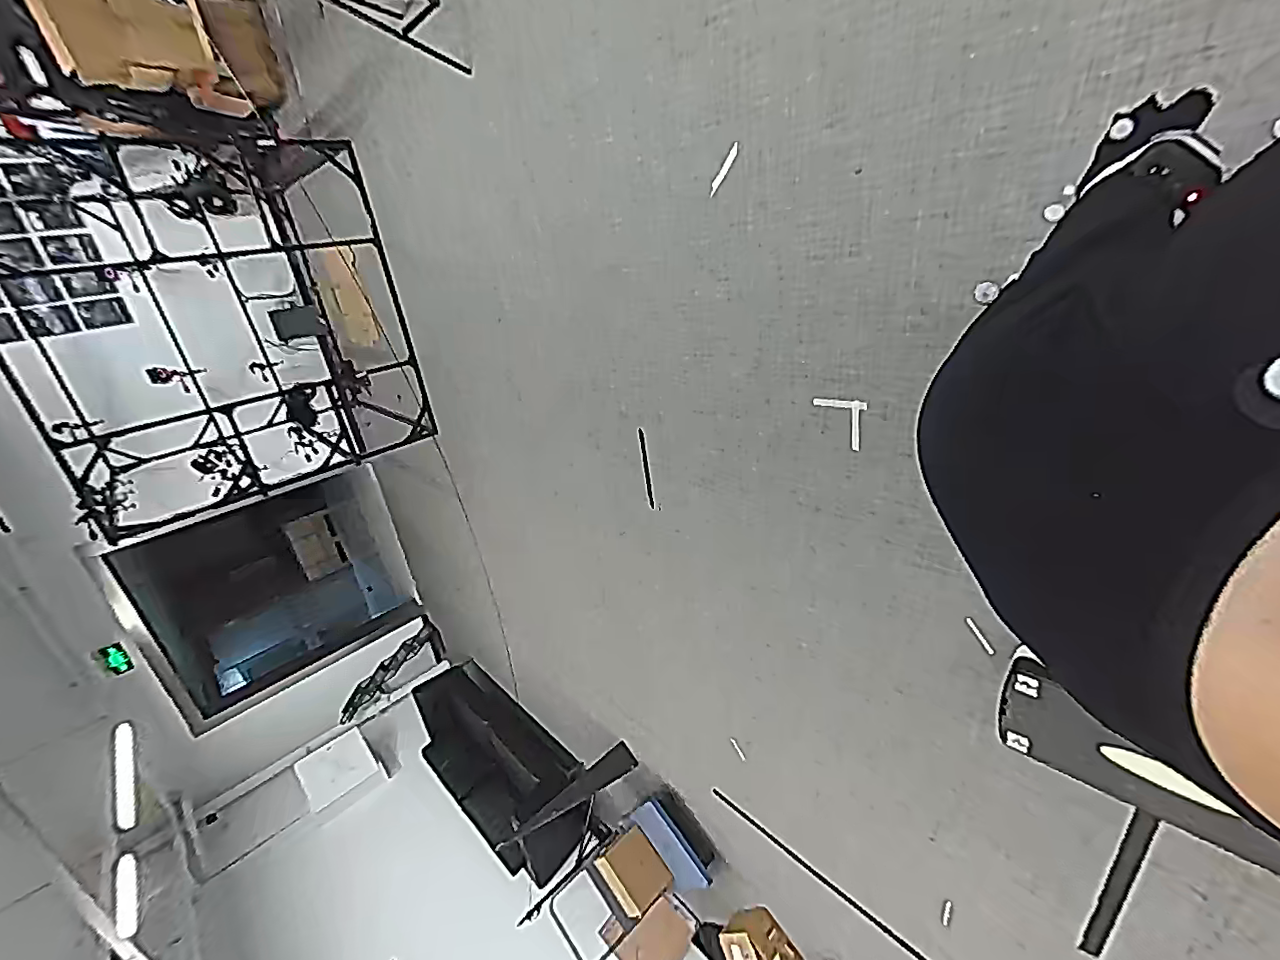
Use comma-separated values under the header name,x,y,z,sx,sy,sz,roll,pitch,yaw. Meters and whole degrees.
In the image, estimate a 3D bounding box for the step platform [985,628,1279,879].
name,x,y,z,sx,sy,sz,roll,pitch,yaw
step platform,1.207,0.619,1.257,0.684,0.204,0.286,17,124,46
